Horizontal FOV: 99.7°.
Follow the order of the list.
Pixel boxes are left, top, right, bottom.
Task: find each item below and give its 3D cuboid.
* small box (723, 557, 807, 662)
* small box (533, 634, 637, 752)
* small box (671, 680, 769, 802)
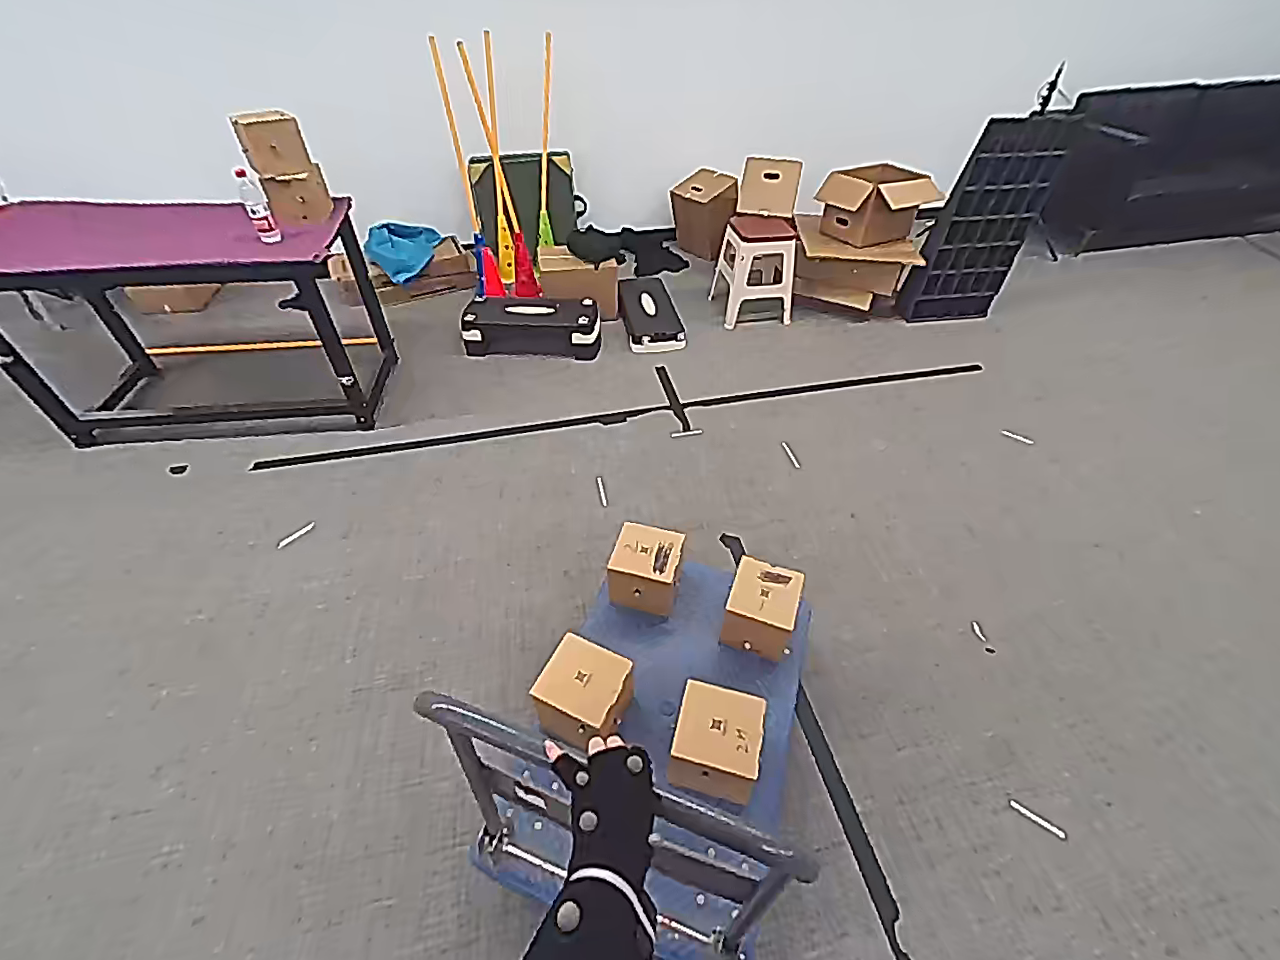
[{"bbox_3d":[0.320,0.335,1.401,0.168,0.176,0.179,16,48,15],"label":"small box"},{"bbox_3d":[-0.121,0.491,1.240,0.179,0.176,0.168,20,48,16],"label":"small box"},{"bbox_3d":[0.170,0.565,1.166,0.179,0.176,0.168,12,46,11],"label":"small box"}]
